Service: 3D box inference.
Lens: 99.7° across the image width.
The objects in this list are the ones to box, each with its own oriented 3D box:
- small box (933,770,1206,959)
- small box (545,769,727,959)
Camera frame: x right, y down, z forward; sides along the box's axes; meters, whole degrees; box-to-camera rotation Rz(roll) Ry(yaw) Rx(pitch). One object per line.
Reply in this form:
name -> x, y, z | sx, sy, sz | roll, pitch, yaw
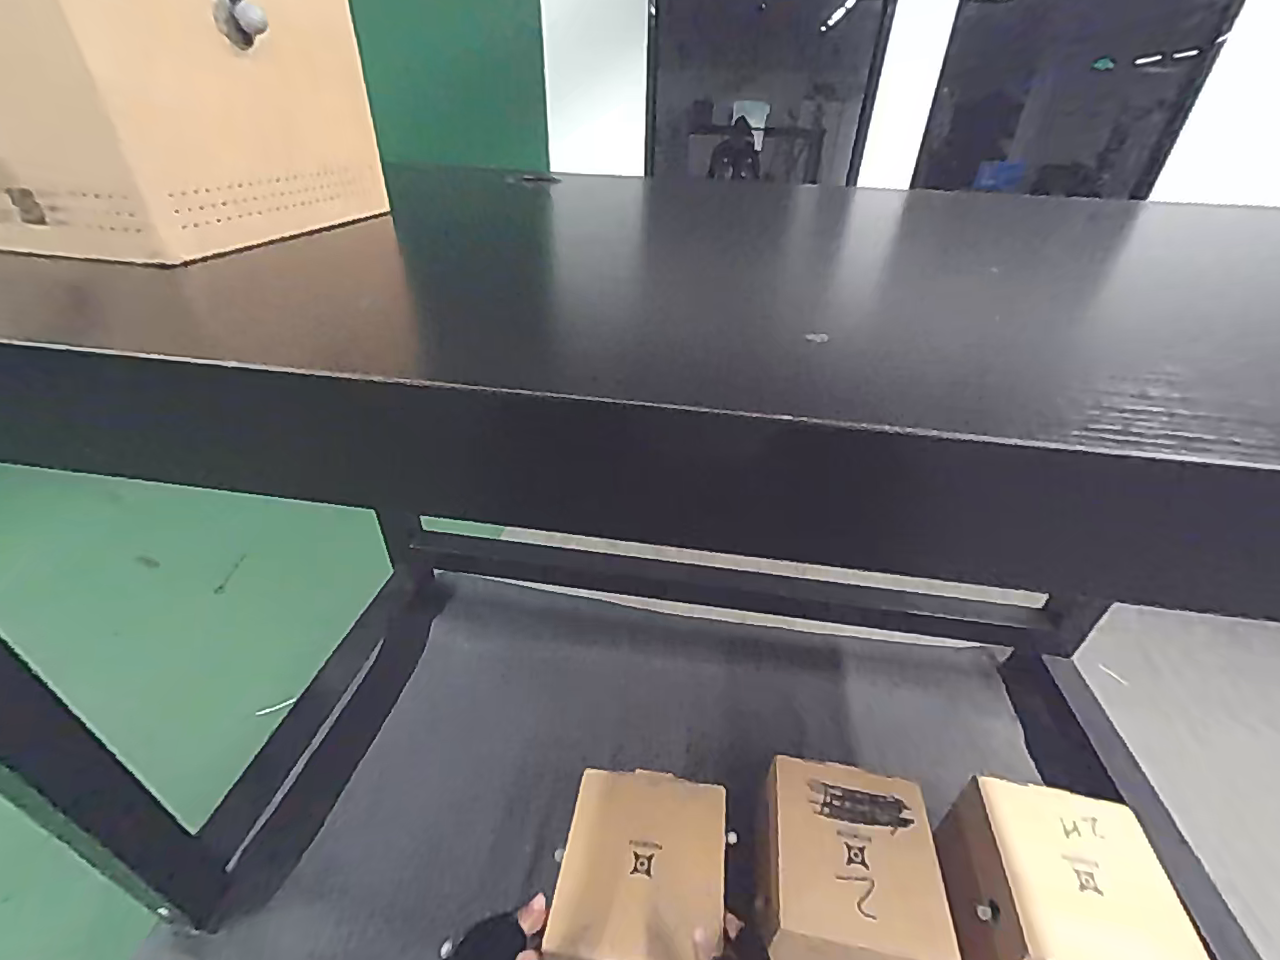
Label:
small box -> 0.454, 0.469, 0.604 | 0.168, 0.176, 0.179 | 8, 34, 9
small box -> 0.008, 0.456, 0.591 | 0.168, 0.176, 0.179 | 3, 30, 8
